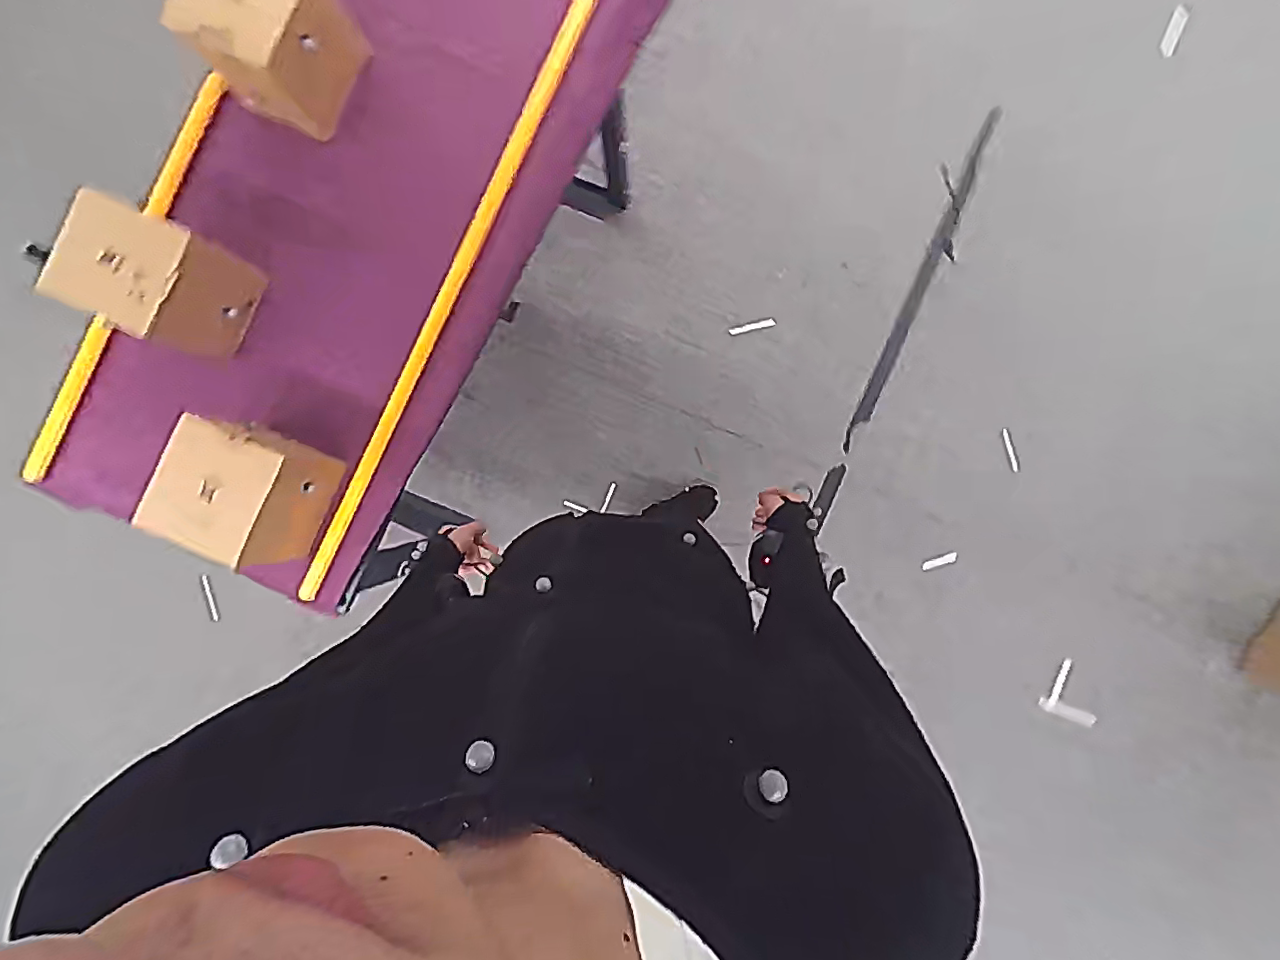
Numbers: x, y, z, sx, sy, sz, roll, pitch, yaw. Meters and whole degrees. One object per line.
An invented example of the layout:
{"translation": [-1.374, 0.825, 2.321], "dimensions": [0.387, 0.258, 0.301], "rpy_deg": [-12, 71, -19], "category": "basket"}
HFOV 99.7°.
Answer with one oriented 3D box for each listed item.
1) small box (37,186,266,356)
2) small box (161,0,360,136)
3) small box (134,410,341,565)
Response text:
{"translation": [-0.751, -0.314, 0.852], "dimensions": [0.179, 0.176, 0.168], "rpy_deg": [24, 90, 0], "category": "small box"}
{"translation": [-0.579, -0.701, 0.854], "dimensions": [0.168, 0.176, 0.179], "rpy_deg": [24, 91, 0], "category": "small box"}
{"translation": [-0.607, 0.013, 0.844], "dimensions": [0.168, 0.176, 0.179], "rpy_deg": [23, 88, 2], "category": "small box"}
